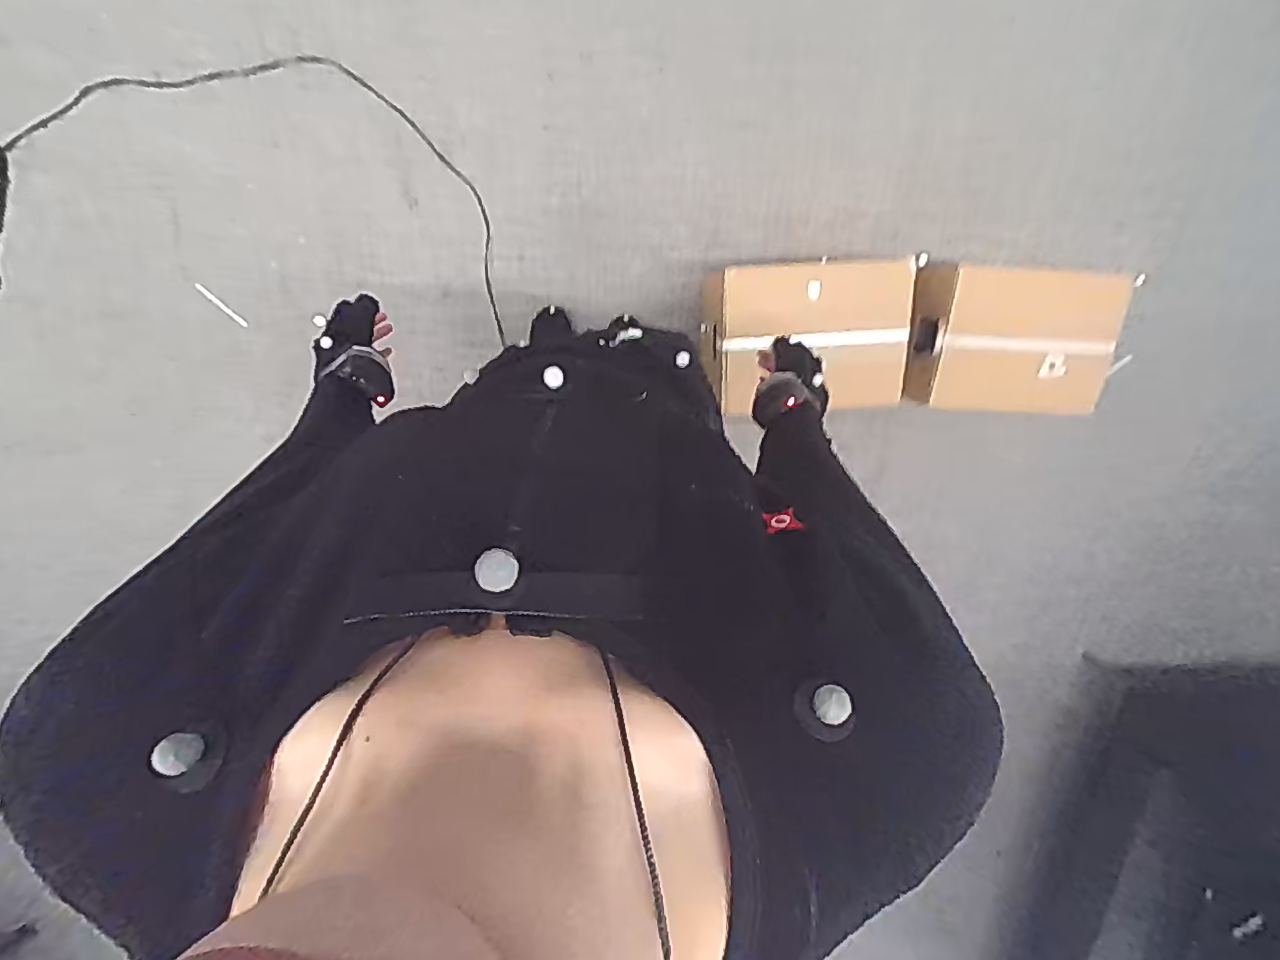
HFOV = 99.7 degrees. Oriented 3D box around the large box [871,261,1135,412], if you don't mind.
[{"bbox_3d":[0.844,-0.352,1.324,0.408,0.320,0.320,1,109,-5],"label":"large box"}]
